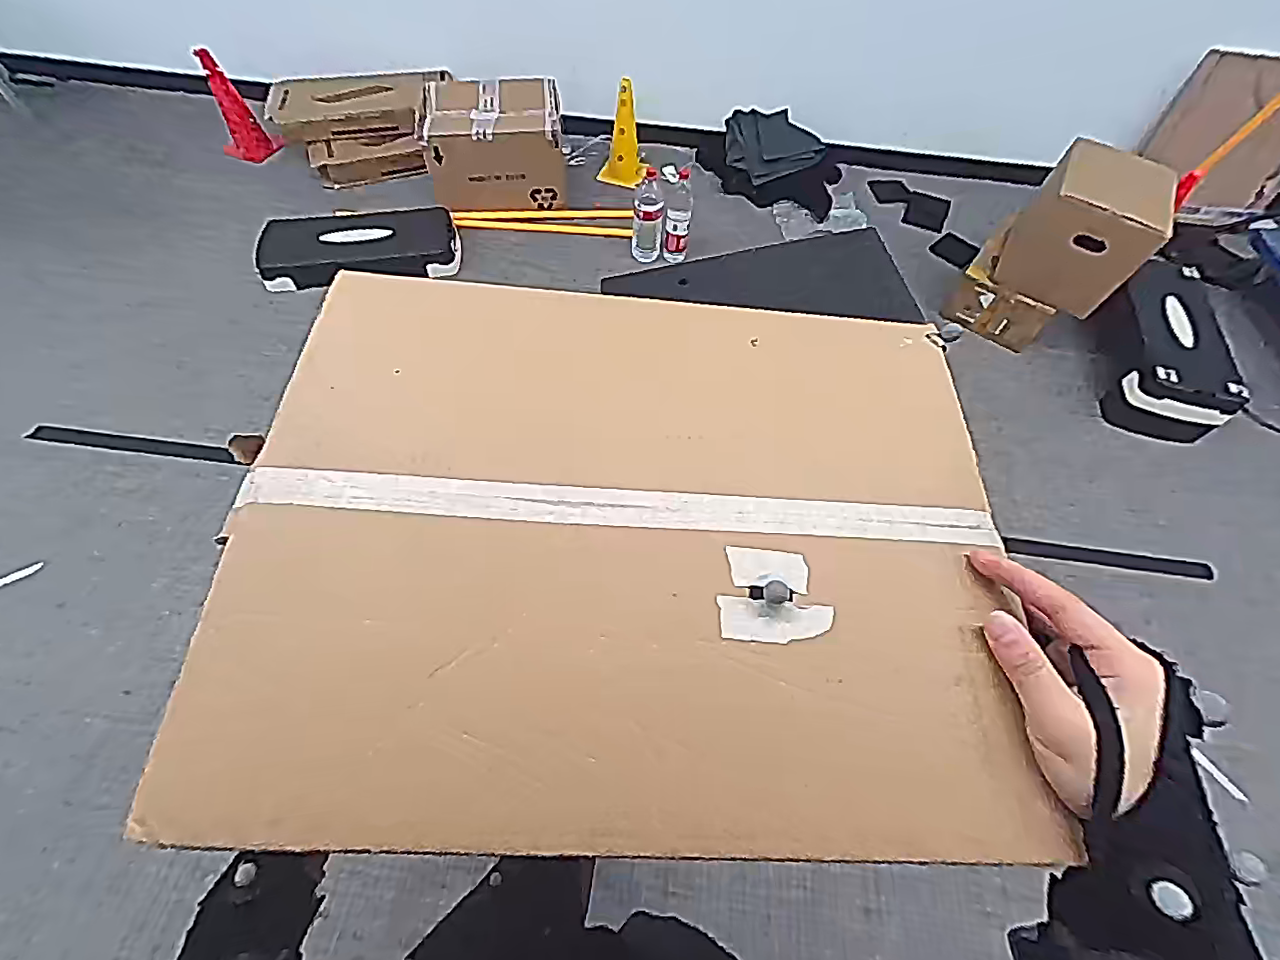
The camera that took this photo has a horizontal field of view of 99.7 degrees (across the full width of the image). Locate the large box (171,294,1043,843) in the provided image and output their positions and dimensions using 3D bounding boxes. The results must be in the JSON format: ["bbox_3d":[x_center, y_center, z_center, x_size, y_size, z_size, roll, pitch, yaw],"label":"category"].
[{"bbox_3d":[-0.016,0.089,0.441,0.408,0.320,0.320,4,64,-5],"label":"large box"}]
